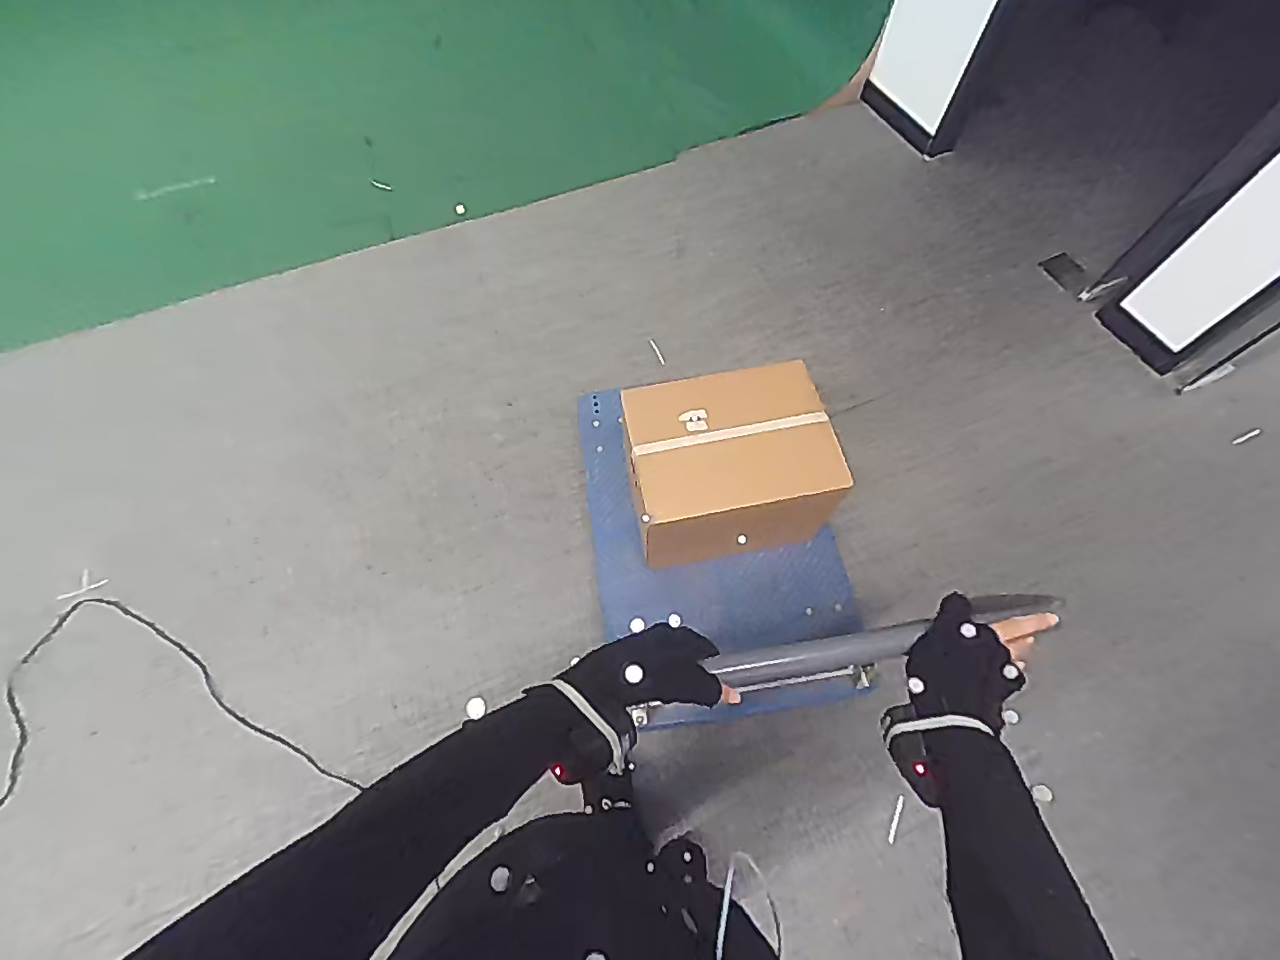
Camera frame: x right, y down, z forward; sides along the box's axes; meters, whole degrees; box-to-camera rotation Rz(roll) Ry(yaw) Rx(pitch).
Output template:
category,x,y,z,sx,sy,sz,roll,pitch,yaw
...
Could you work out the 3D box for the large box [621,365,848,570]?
category,x,y,z,sx,sy,sz,roll,pitch,yaw
large box,0.187,-0.015,1.231,0.408,0.320,0.320,-11,64,-4
